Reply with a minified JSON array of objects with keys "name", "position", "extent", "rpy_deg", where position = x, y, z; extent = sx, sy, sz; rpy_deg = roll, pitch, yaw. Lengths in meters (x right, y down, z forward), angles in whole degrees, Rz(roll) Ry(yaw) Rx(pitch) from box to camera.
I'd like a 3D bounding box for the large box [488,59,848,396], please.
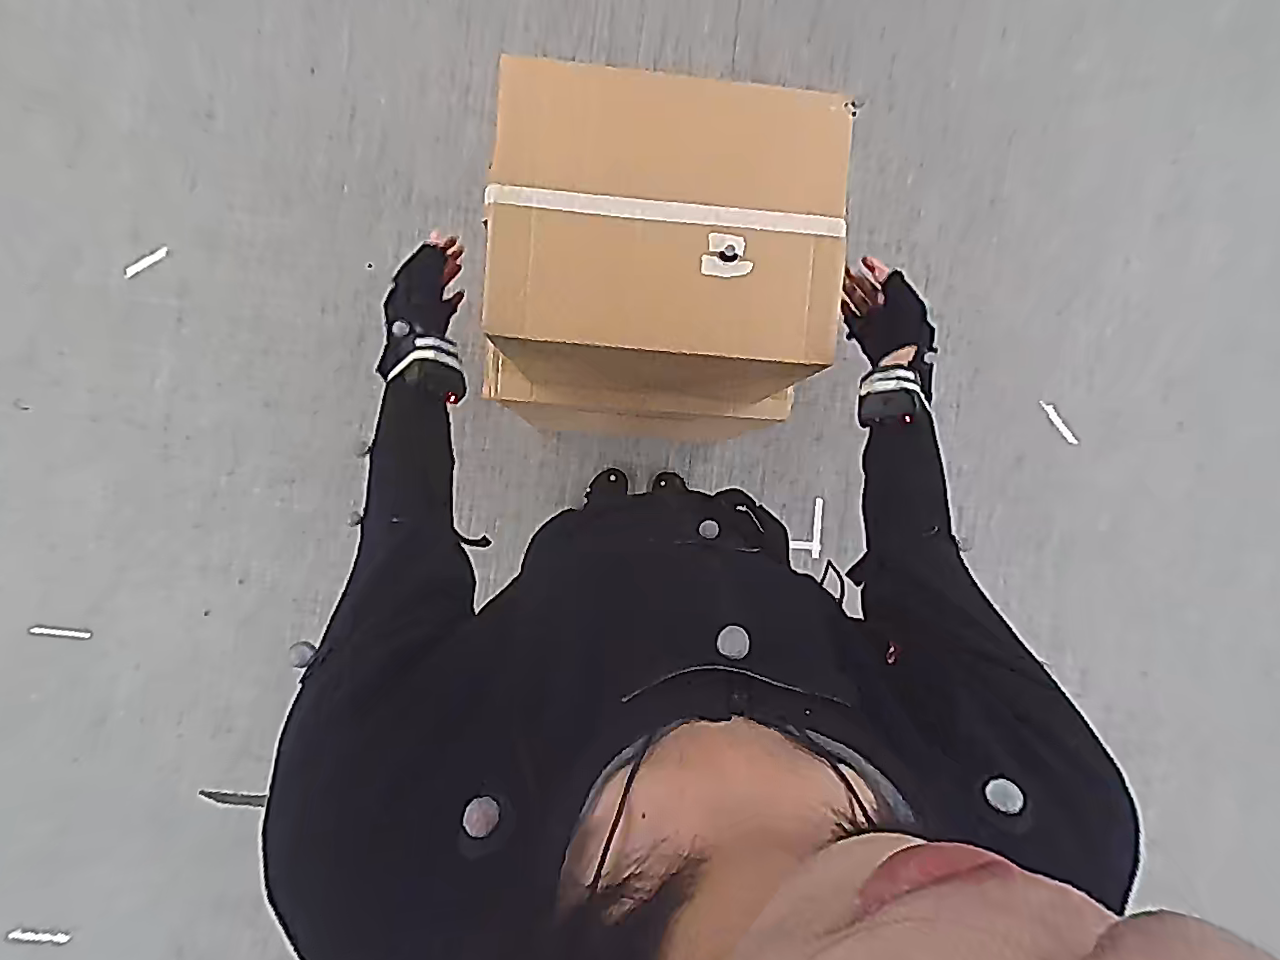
[{"name":"large box","position":[0.024,-0.304,0.757],"extent":[0.408,0.320,0.320],"rpy_deg":[4,90,-4]}]
